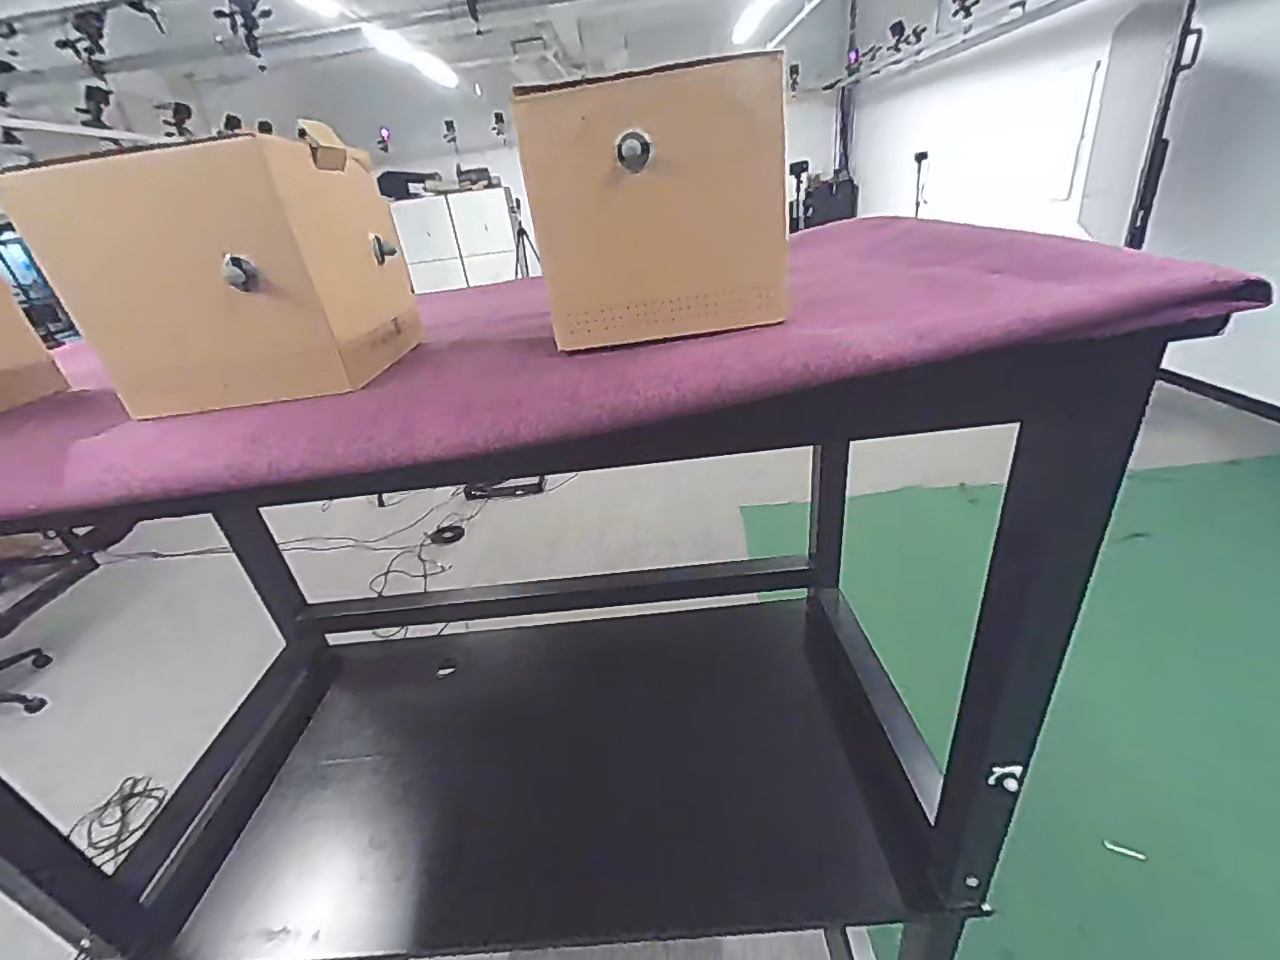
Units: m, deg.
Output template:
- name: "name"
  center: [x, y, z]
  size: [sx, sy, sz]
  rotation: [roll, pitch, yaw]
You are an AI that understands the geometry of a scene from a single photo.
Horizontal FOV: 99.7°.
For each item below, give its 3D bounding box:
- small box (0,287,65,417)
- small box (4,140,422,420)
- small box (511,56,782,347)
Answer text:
- name: "small box"
  center: [-0.644, -0.112, 0.427]
  size: [0.168, 0.176, 0.179]
  rotation: [-6, 28, 0]
- name: "small box"
  center: [-0.305, -0.162, 0.442]
  size: [0.179, 0.176, 0.168]
  rotation: [-8, 27, 2]
- name: "small box"
  center: [0.014, -0.214, 0.449]
  size: [0.179, 0.176, 0.168]
  rotation: [-6, 25, 4]
